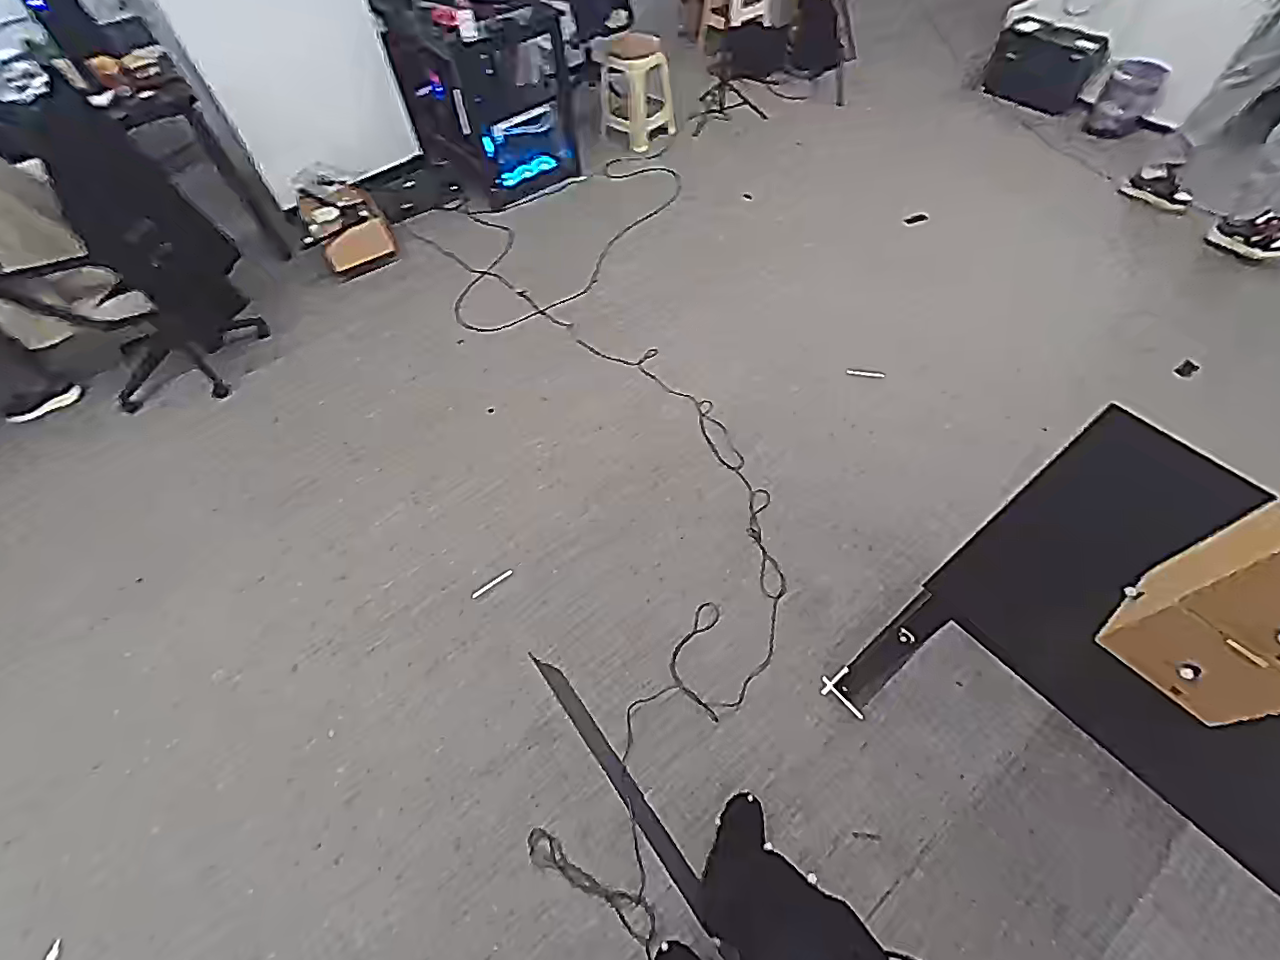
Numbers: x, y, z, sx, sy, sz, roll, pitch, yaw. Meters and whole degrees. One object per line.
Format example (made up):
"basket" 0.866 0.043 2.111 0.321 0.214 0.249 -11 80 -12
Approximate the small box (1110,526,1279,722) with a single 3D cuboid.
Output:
"small box" 0.813 0.203 0.747 0.179 0.176 0.168 -36 62 -19

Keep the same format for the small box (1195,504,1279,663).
"small box" 0.805 0.111 0.611 0.179 0.176 0.168 -36 61 -19
